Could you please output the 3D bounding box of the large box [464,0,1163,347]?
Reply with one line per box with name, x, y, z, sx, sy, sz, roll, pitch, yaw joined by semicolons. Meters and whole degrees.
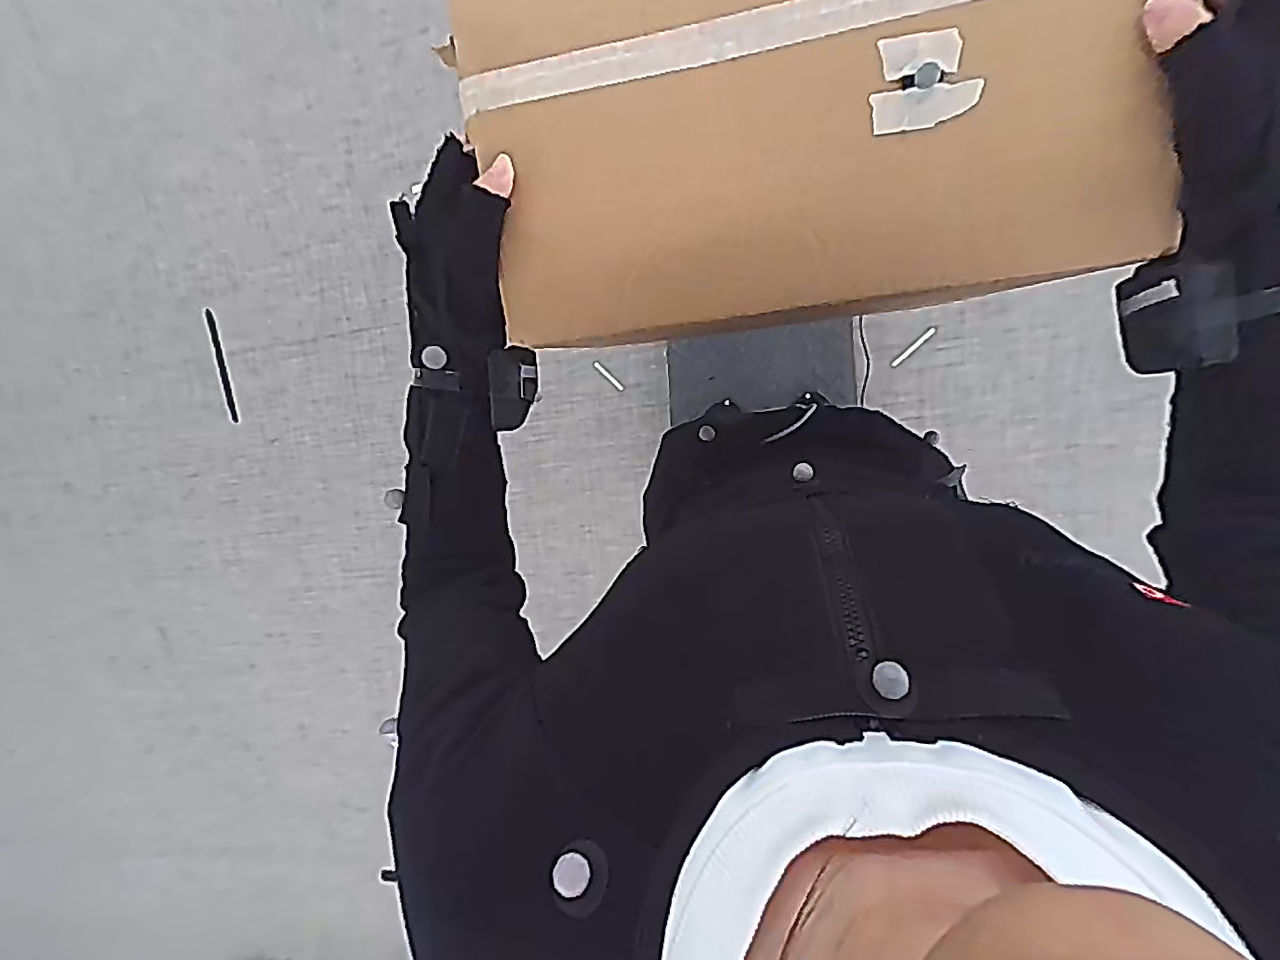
large box;0.108;-0.302;0.468;0.408;0.320;0.320;-6;103;9
